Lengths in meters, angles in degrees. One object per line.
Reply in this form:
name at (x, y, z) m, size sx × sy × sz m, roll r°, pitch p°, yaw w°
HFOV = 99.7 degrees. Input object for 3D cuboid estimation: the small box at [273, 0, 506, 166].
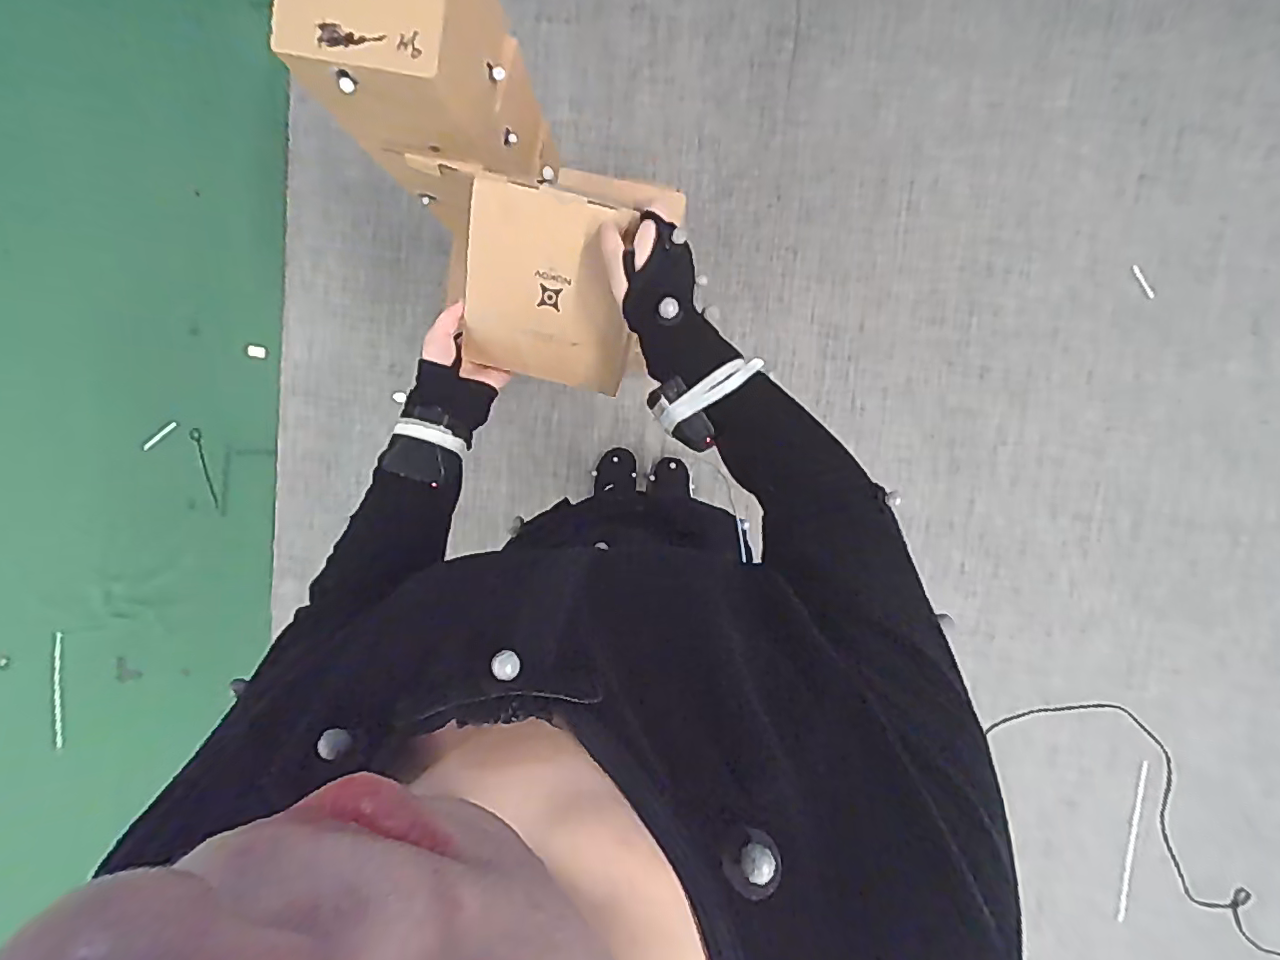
small box at (-0.257, -0.489, 0.597) m, size 0.168 × 0.176 × 0.179 m, roll 11°, pitch 94°, yaw 1°

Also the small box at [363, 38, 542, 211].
small box at (-0.250, -0.494, 0.761) m, size 0.168 × 0.176 × 0.179 m, roll 18°, pitch 94°, yaw 0°

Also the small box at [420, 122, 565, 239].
small box at (-0.241, -0.504, 0.926) m, size 0.179 × 0.176 × 0.168 m, roll 16°, pitch 95°, yaw -1°

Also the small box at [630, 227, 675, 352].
small box at (-0.032, -0.325, 0.934) m, size 0.168 × 0.176 × 0.179 m, roll 8°, pitch 95°, yaw 1°

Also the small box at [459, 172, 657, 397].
small box at (-0.081, -0.217, 0.588) m, size 0.168 × 0.176 × 0.179 m, roll 14°, pitch 119°, yaw -1°
